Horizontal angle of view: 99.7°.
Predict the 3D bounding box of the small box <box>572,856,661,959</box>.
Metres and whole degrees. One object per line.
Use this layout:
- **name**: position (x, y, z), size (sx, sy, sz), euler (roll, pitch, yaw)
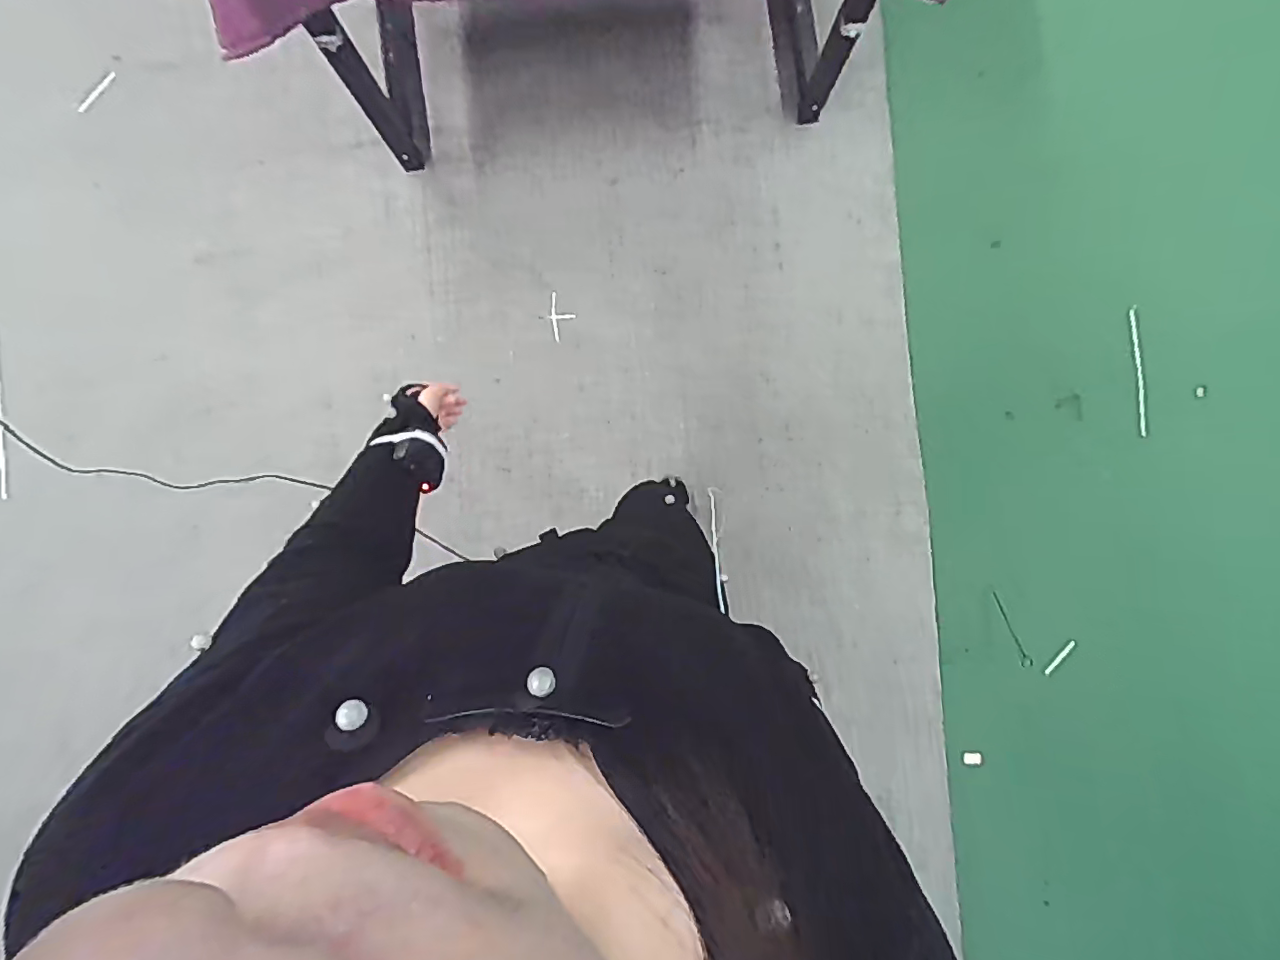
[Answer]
- **small box**: position (-0.048, 0.904, 1.096), size (0.168, 0.176, 0.179), euler (3, 91, 0)
